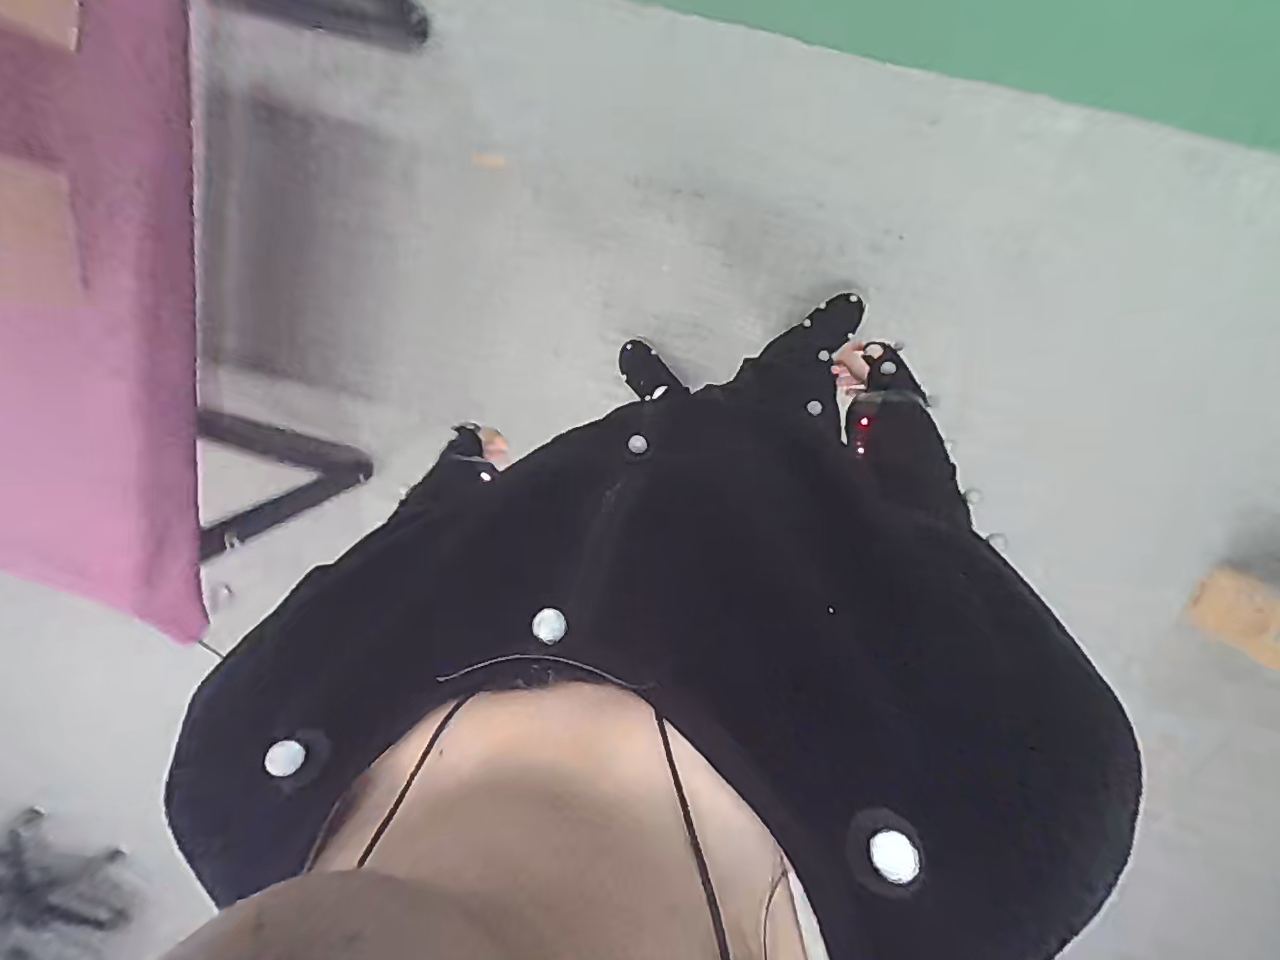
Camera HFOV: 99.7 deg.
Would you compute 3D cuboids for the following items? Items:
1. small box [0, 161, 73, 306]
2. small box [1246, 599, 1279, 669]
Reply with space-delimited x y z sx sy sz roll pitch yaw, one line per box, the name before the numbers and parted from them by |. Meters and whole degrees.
small box | -0.877 -0.319 0.677 0.168 0.176 0.179 9 107 3
small box | 1.565 0.378 1.222 0.179 0.176 0.168 12 108 3
